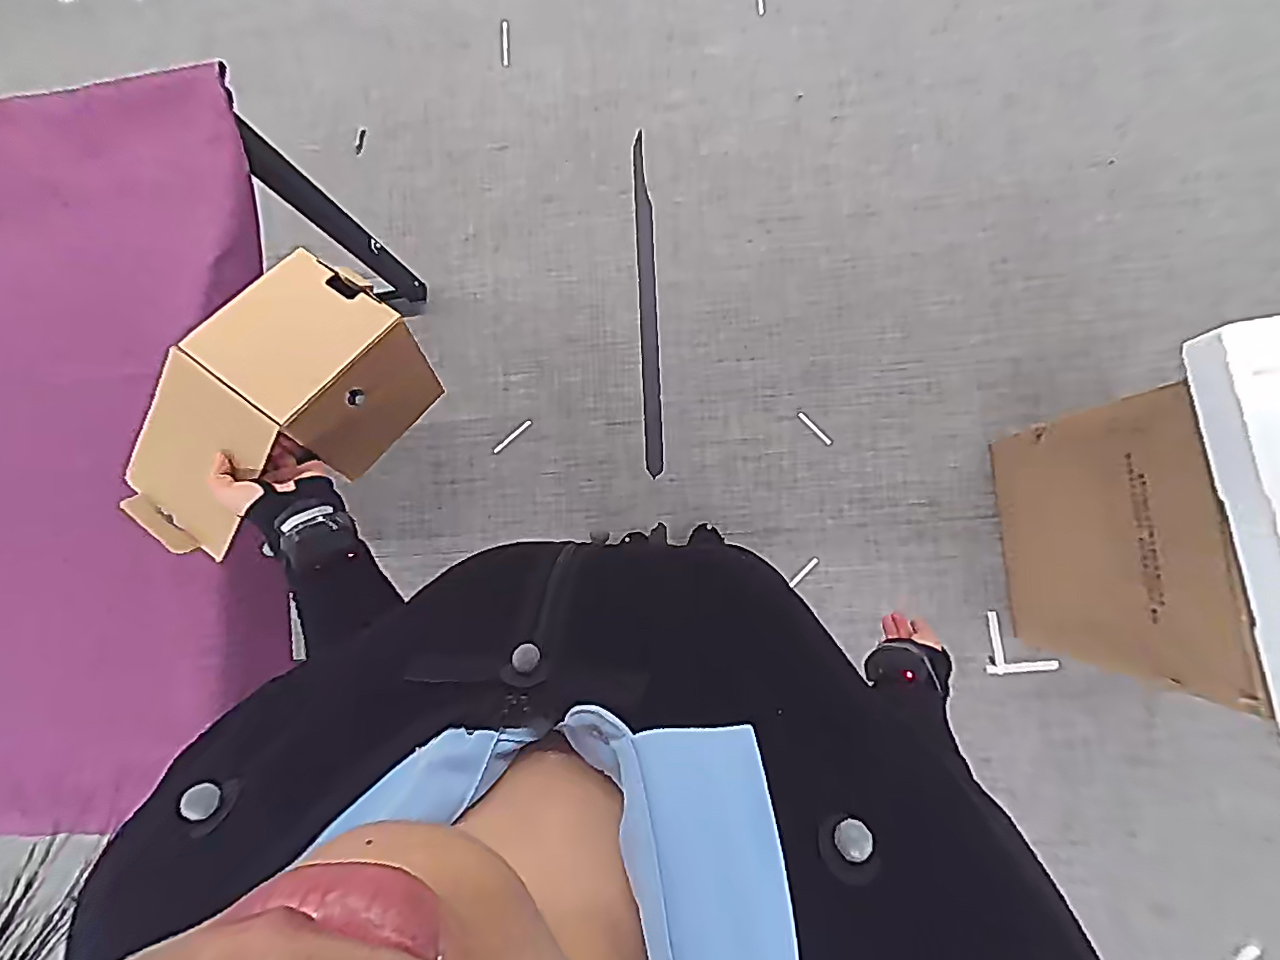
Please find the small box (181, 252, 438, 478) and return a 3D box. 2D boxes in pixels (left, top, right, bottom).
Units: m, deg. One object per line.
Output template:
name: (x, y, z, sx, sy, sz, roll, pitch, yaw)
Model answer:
small box: (-0.383, -0.130, 0.667, 0.168, 0.176, 0.179, 34, 71, 10)
